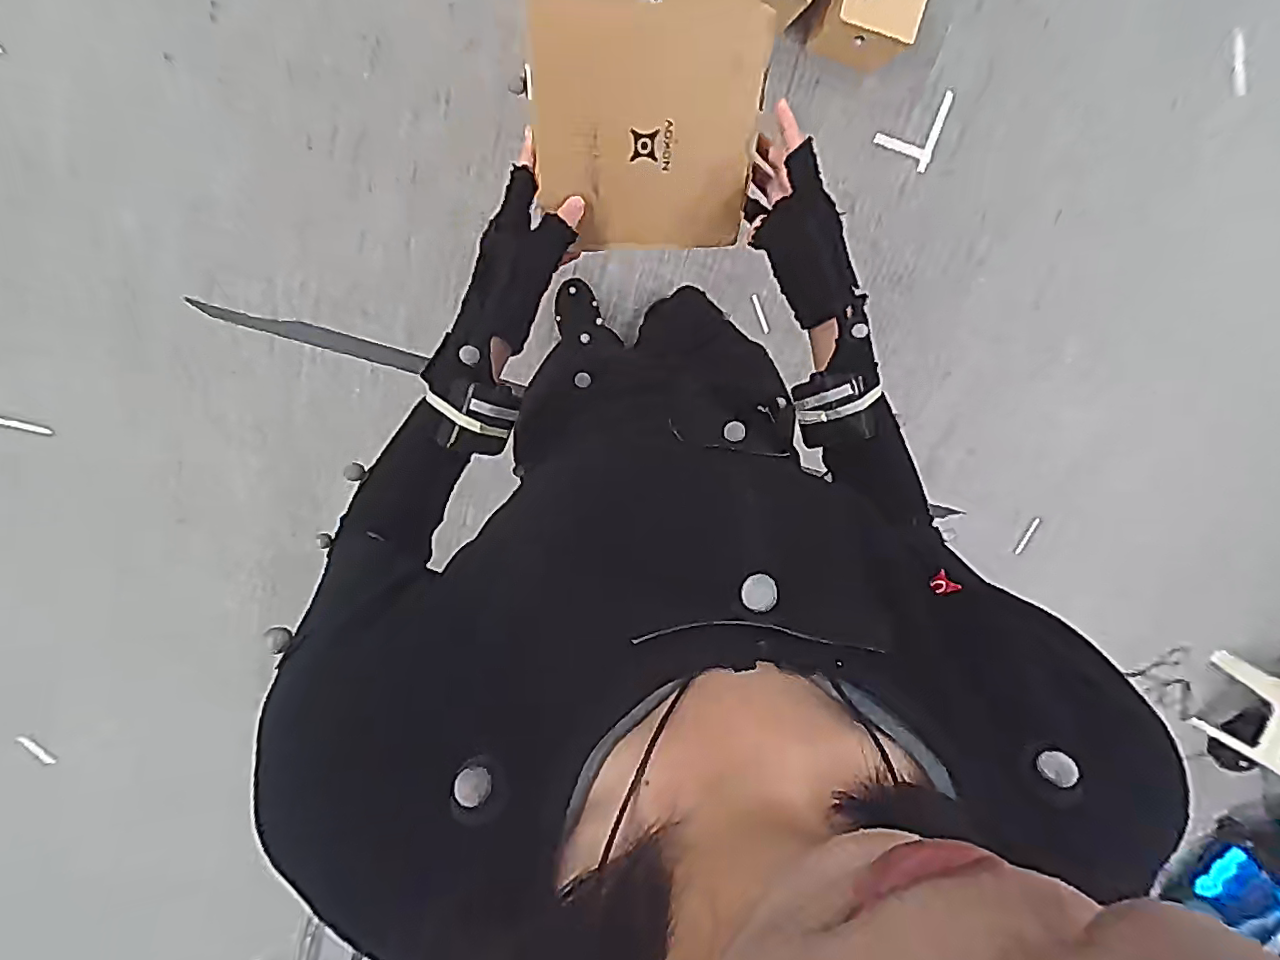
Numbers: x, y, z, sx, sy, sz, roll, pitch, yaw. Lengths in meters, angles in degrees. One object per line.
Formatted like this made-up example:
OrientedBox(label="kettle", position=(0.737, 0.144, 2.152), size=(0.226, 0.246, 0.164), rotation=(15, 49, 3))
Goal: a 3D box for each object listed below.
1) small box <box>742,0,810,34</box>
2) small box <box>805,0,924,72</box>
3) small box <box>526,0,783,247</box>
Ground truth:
OrientedBox(label="small box", position=(0.278, -1.064, 1.099), size=(0.168, 0.176, 0.179), rotation=(18, 108, -13))
OrientedBox(label="small box", position=(0.478, -1.005, 1.148), size=(0.179, 0.176, 0.168), rotation=(9, 110, -12))
OrientedBox(label="small box", position=(-0.003, -0.323, 0.474), size=(0.179, 0.176, 0.168), rotation=(-5, 137, -9))
